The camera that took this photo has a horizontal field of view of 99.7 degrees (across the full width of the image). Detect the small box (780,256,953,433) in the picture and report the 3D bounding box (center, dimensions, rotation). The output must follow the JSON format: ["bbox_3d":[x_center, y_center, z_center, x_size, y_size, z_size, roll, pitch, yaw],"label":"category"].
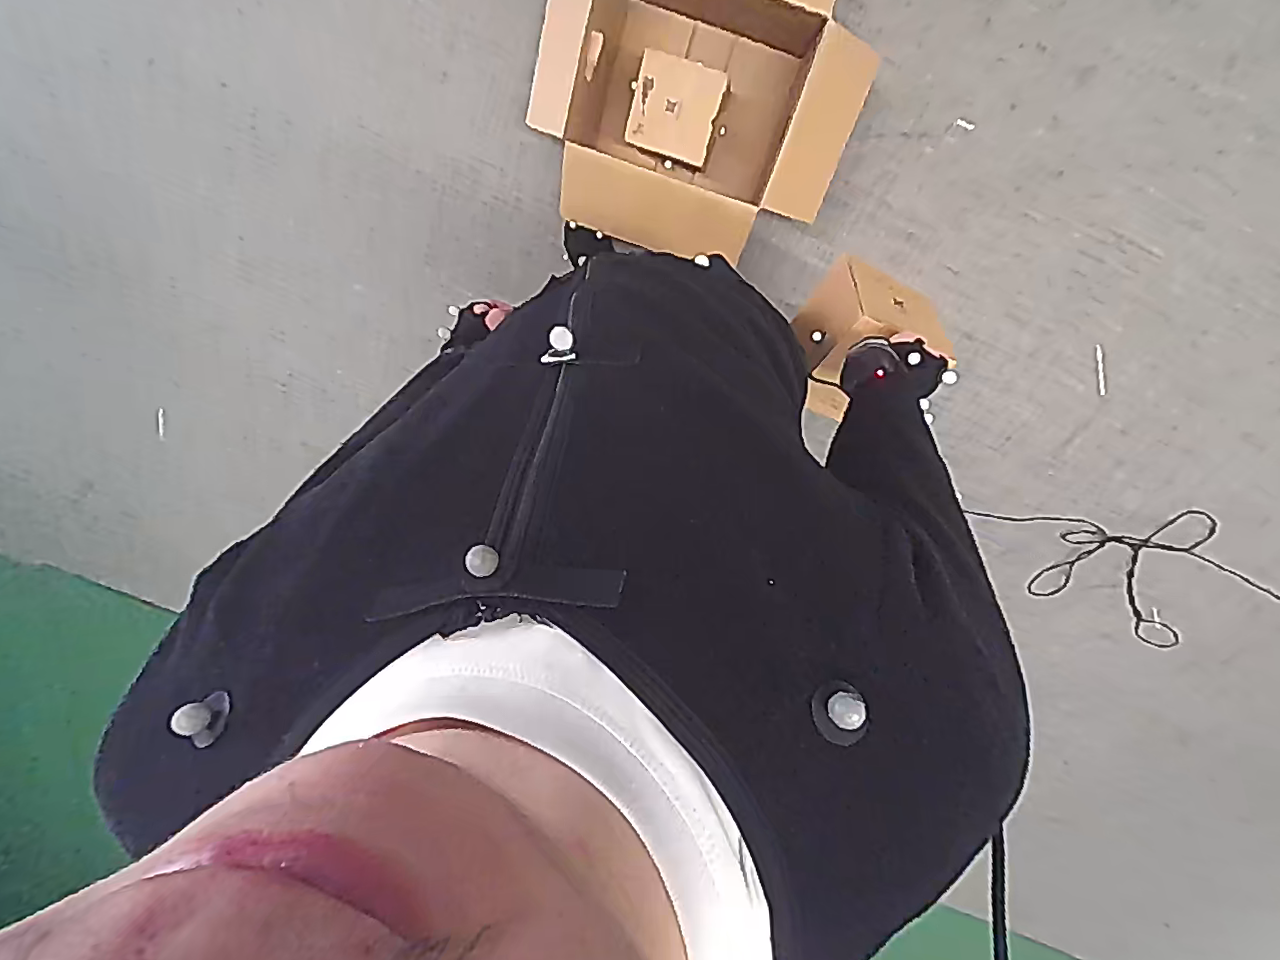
[{"bbox_3d":[0.335,-0.202,0.837,0.168,0.179,0.176,21,136,-14],"label":"small box"}]
